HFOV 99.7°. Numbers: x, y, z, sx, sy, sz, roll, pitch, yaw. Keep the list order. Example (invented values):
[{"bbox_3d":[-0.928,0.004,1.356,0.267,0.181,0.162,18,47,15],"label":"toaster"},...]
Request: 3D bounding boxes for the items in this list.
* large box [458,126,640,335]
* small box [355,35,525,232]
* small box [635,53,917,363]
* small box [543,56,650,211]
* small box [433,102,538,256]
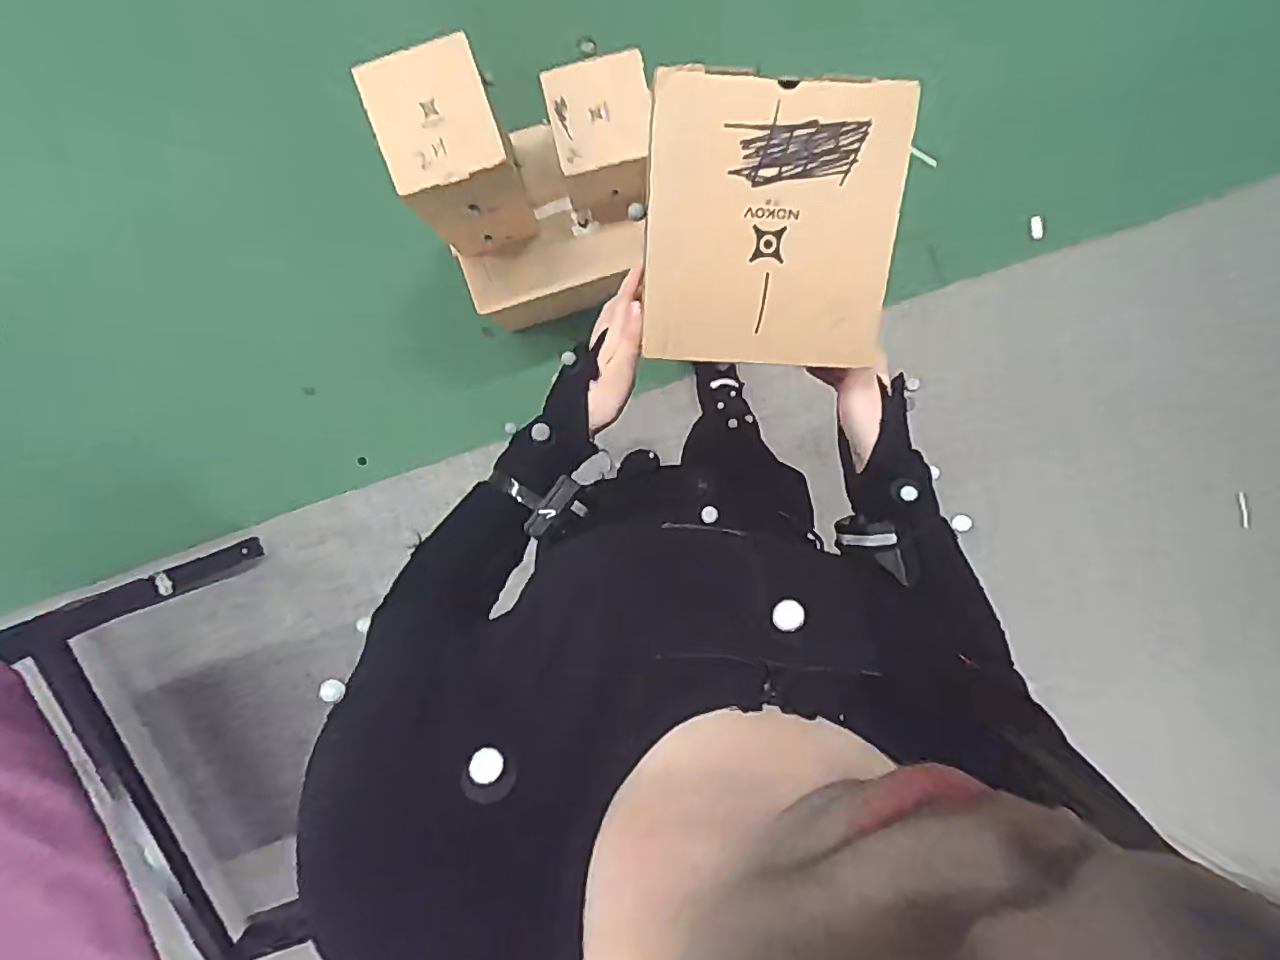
[{"bbox_3d":[-0.188,-0.555,1.233,0.408,0.320,0.320,-17,99,0],"label":"large box"},{"bbox_3d":[-0.290,-0.512,0.825,0.168,0.176,0.179,-18,99,1],"label":"small box"},{"bbox_3d":[0.082,-0.191,0.423,0.168,0.176,0.179,2,108,-1],"label":"small box"},{"bbox_3d":[-0.062,-0.614,0.980,0.179,0.176,0.168,-12,98,2],"label":"small box"},{"bbox_3d":[-0.298,-0.537,0.988,0.168,0.176,0.179,-17,98,0],"label":"small box"}]
